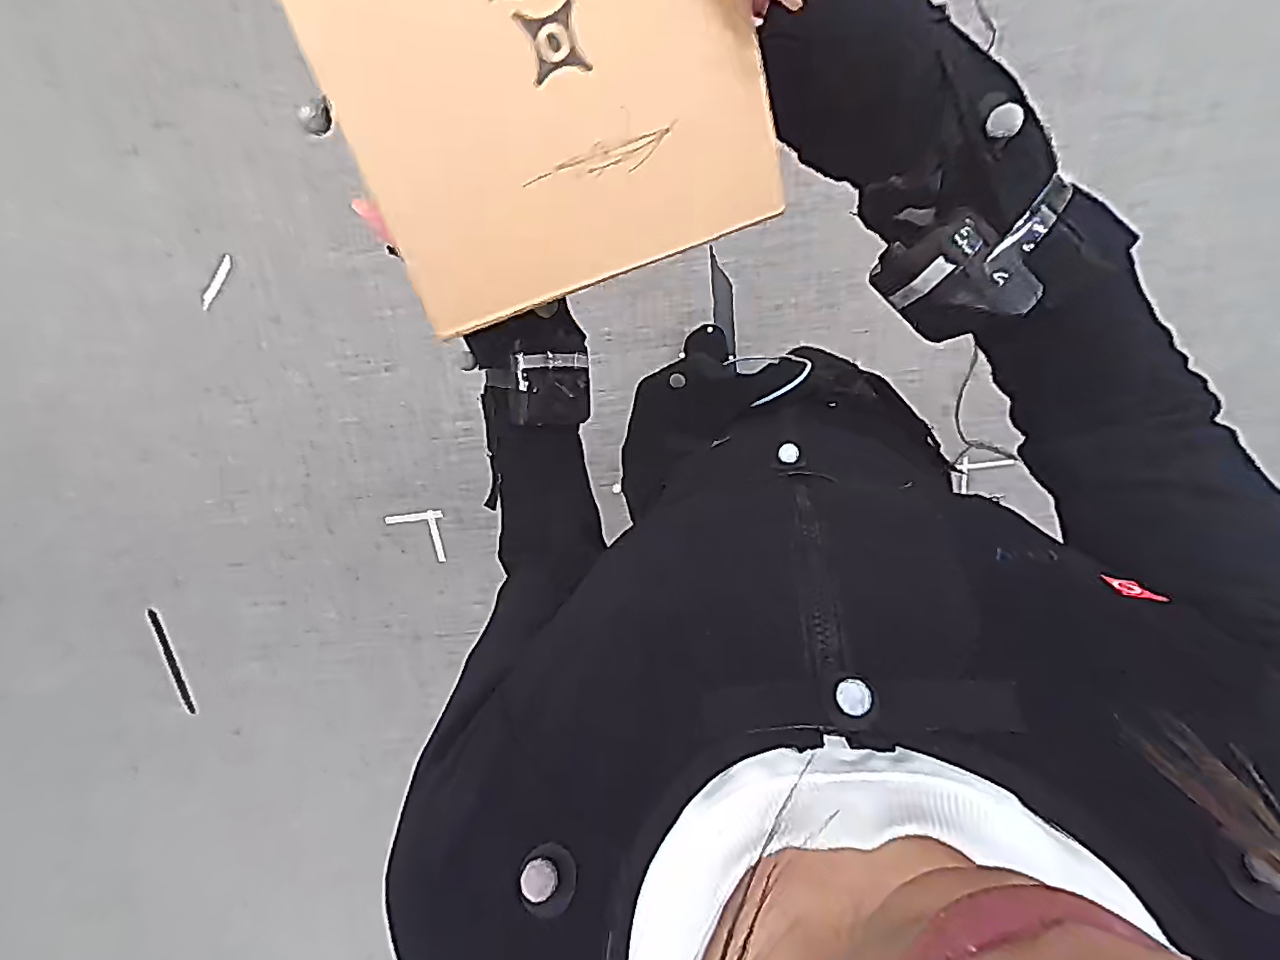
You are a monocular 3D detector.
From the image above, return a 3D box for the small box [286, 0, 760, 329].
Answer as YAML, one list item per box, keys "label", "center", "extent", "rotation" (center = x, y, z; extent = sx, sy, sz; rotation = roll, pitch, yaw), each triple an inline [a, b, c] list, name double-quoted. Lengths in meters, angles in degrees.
- label: "small box"
  center: [-0.064, -0.193, 0.285]
  extent: [0.168, 0.176, 0.179]
  rotation: [-23, 114, -9]
